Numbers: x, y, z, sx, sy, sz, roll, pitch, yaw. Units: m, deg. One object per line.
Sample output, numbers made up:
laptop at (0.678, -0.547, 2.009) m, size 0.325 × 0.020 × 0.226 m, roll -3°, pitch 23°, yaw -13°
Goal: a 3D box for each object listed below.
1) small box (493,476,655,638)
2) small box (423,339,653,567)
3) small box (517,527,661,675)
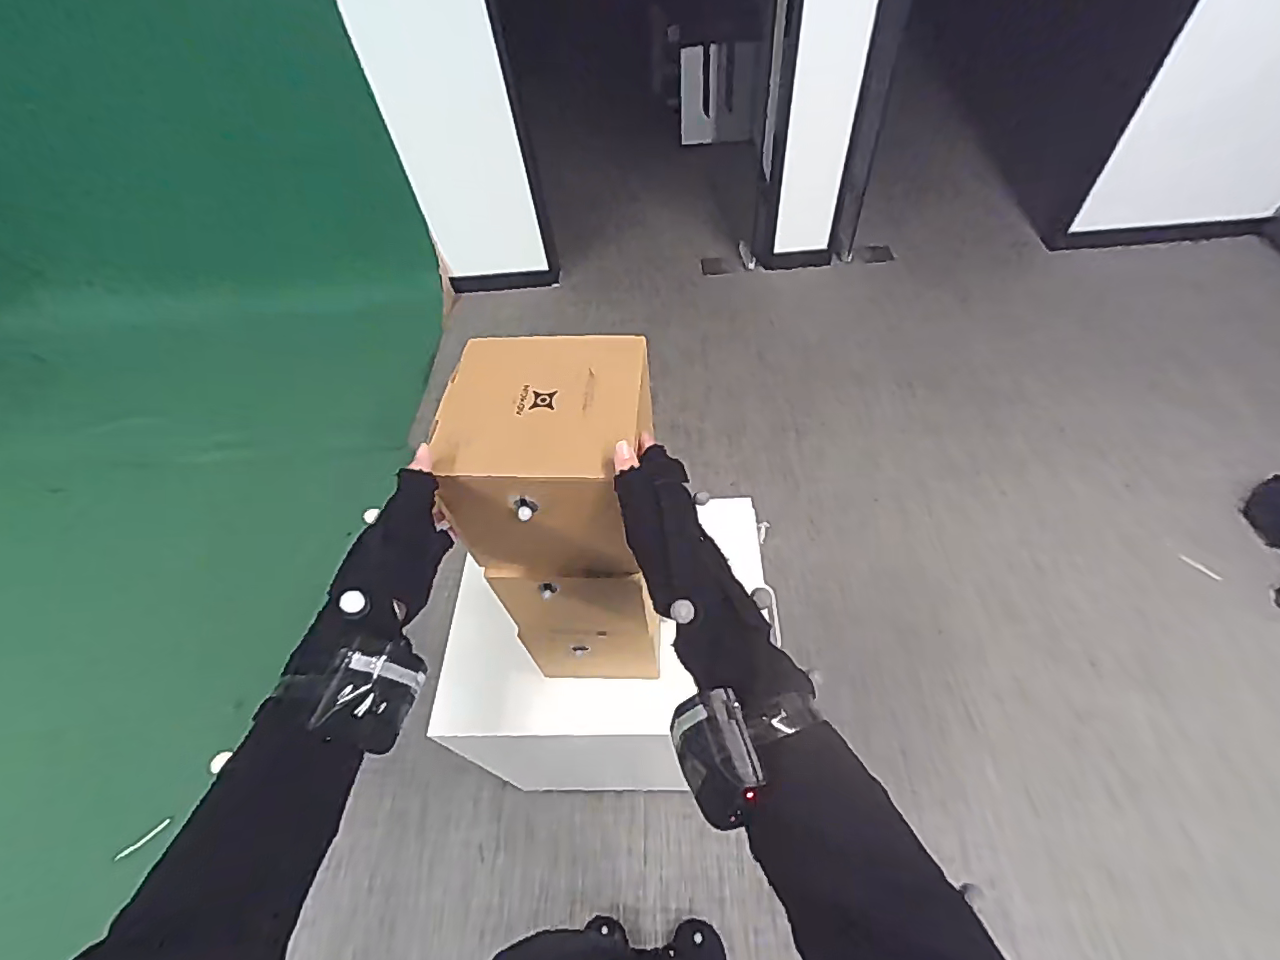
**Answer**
small box at (-0.068, 0.081, 0.672) m, size 0.168 × 0.176 × 0.179 m, roll -1°, pitch 54°, yaw 3°
small box at (-0.082, -0.022, 0.544) m, size 0.179 × 0.176 × 0.168 m, roll 1°, pitch 55°, yaw 5°
small box at (-0.062, 0.180, 0.799) m, size 0.179 × 0.176 × 0.168 m, roll 0°, pitch 53°, yaw 5°
